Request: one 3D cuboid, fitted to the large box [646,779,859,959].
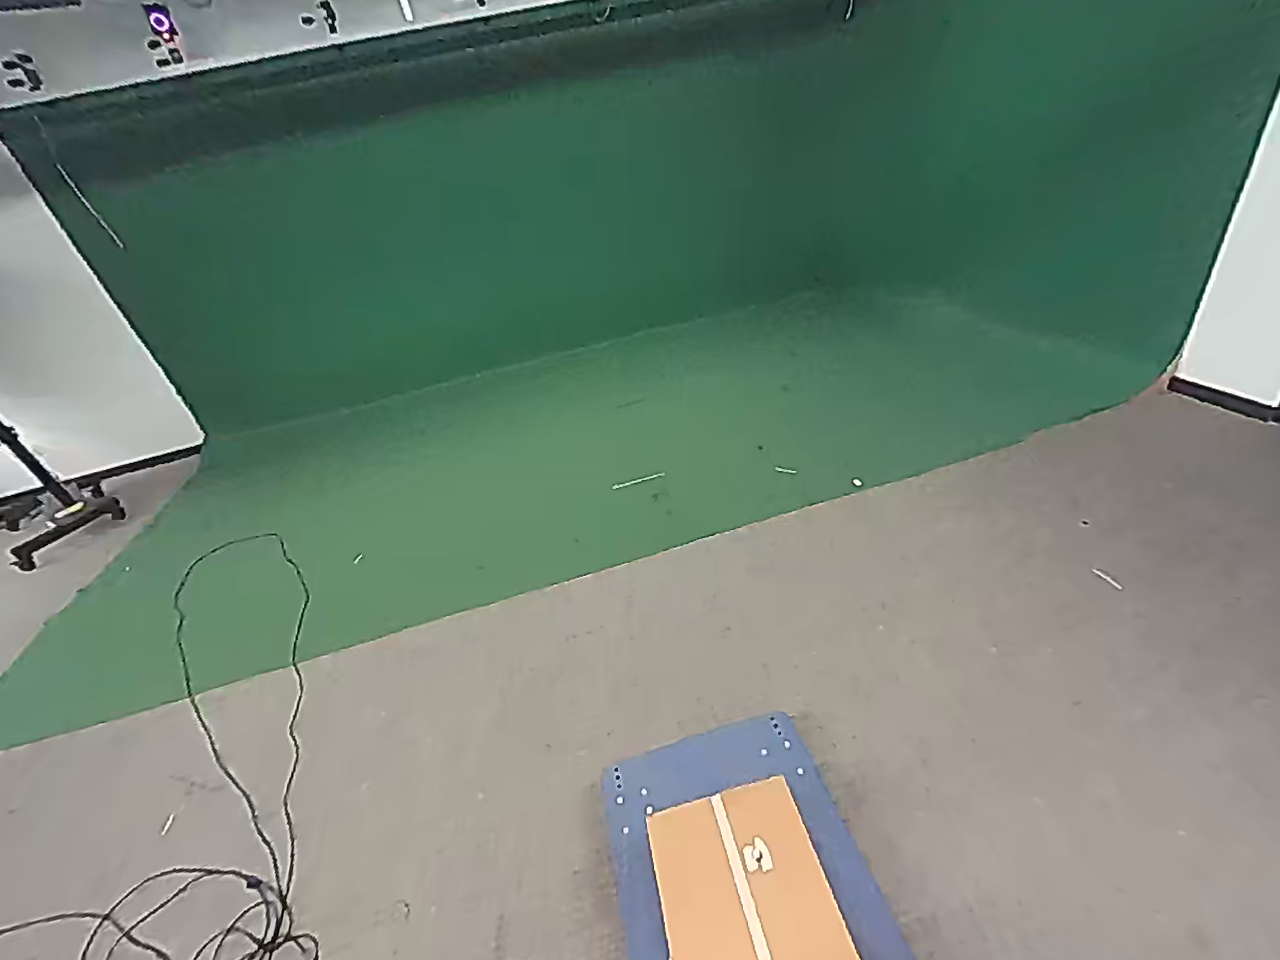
[{"bbox_3d":[0.225,0.909,1.076,0.320,0.320,0.408,-14,32,-4],"label":"large box"}]
